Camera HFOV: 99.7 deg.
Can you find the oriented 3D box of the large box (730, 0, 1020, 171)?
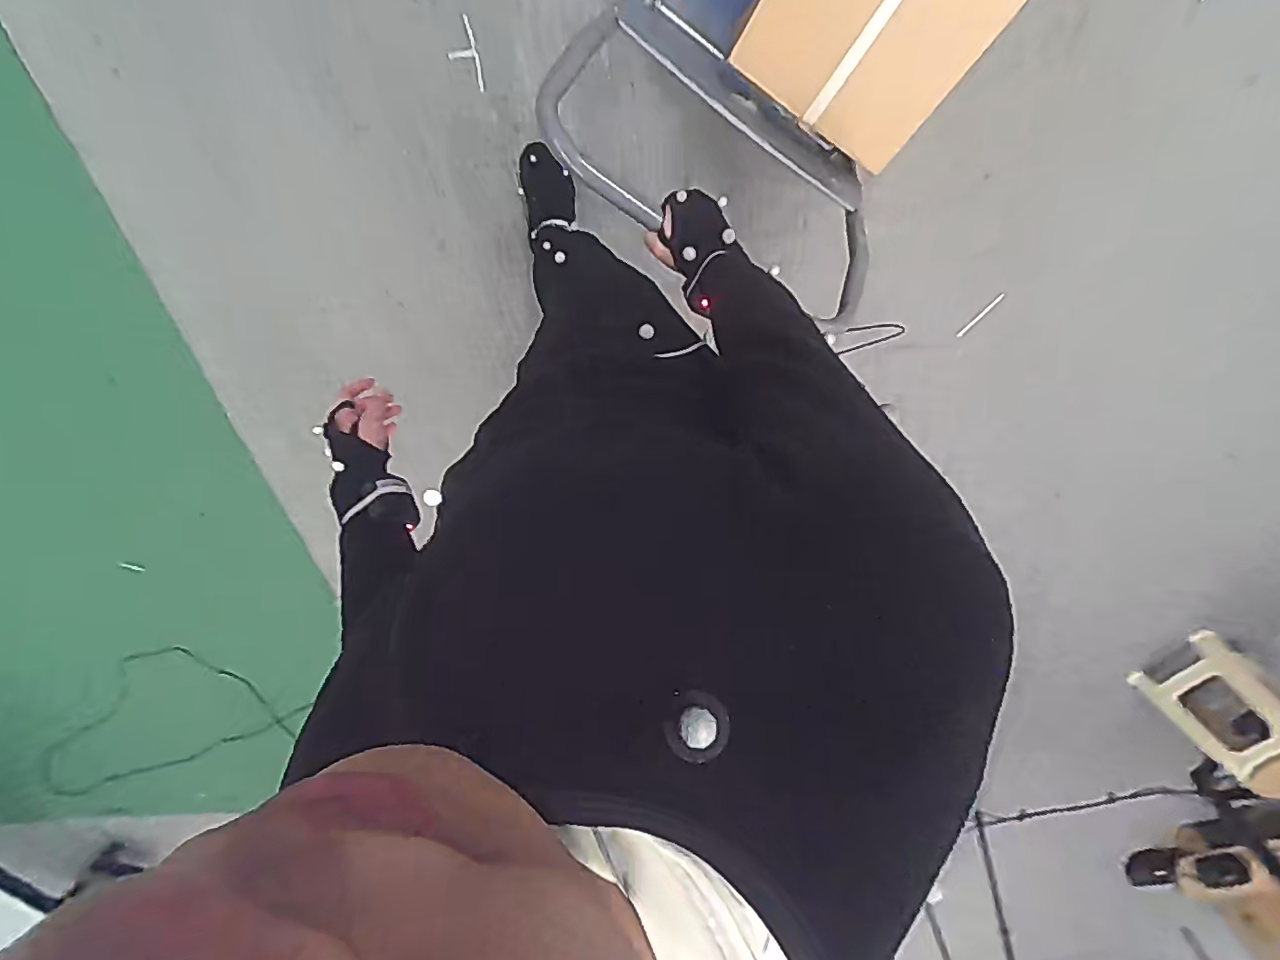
[{"bbox_3d":[0.385,-0.796,0.840,0.320,0.320,0.408,28,135,-16],"label":"large box"}]
